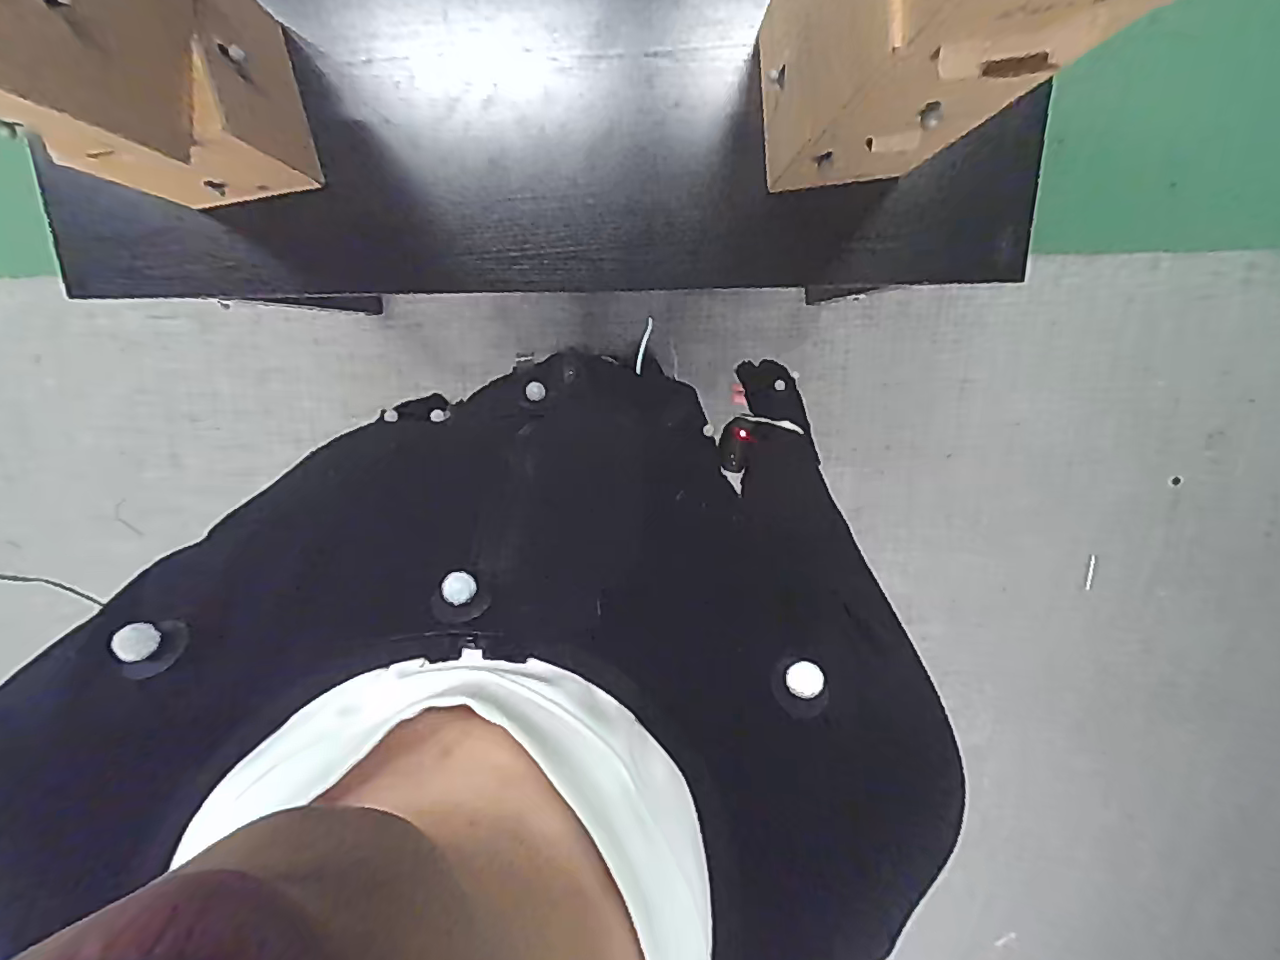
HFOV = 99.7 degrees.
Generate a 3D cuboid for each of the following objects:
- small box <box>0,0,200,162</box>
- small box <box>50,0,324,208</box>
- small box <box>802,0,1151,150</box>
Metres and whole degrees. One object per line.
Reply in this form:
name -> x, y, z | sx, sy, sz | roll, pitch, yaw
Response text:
small box -> -0.470, -0.365, 0.398 | 0.168, 0.176, 0.179 | 11, 103, -4
small box -> -0.469, -0.405, 0.557 | 0.168, 0.176, 0.179 | -9, 105, 1
small box -> 0.226, -0.379, 0.400 | 0.168, 0.176, 0.179 | -9, 104, 2
